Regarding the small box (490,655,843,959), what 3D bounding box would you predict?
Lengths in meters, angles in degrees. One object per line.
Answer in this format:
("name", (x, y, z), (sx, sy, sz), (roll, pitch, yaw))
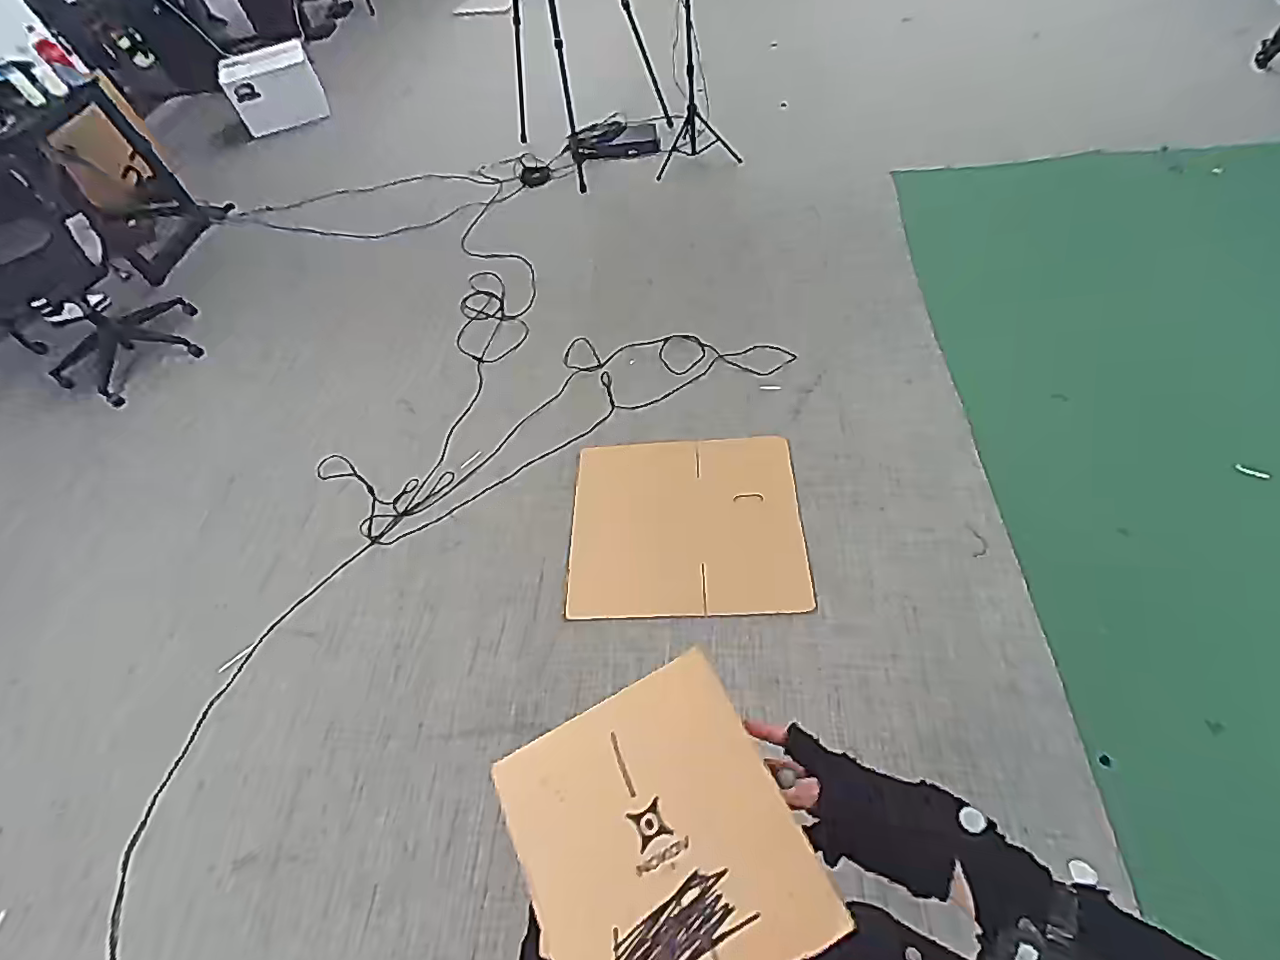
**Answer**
("small box", (0.021, 0.257, 0.405), (0.168, 0.176, 0.179), (-29, 63, -4))
